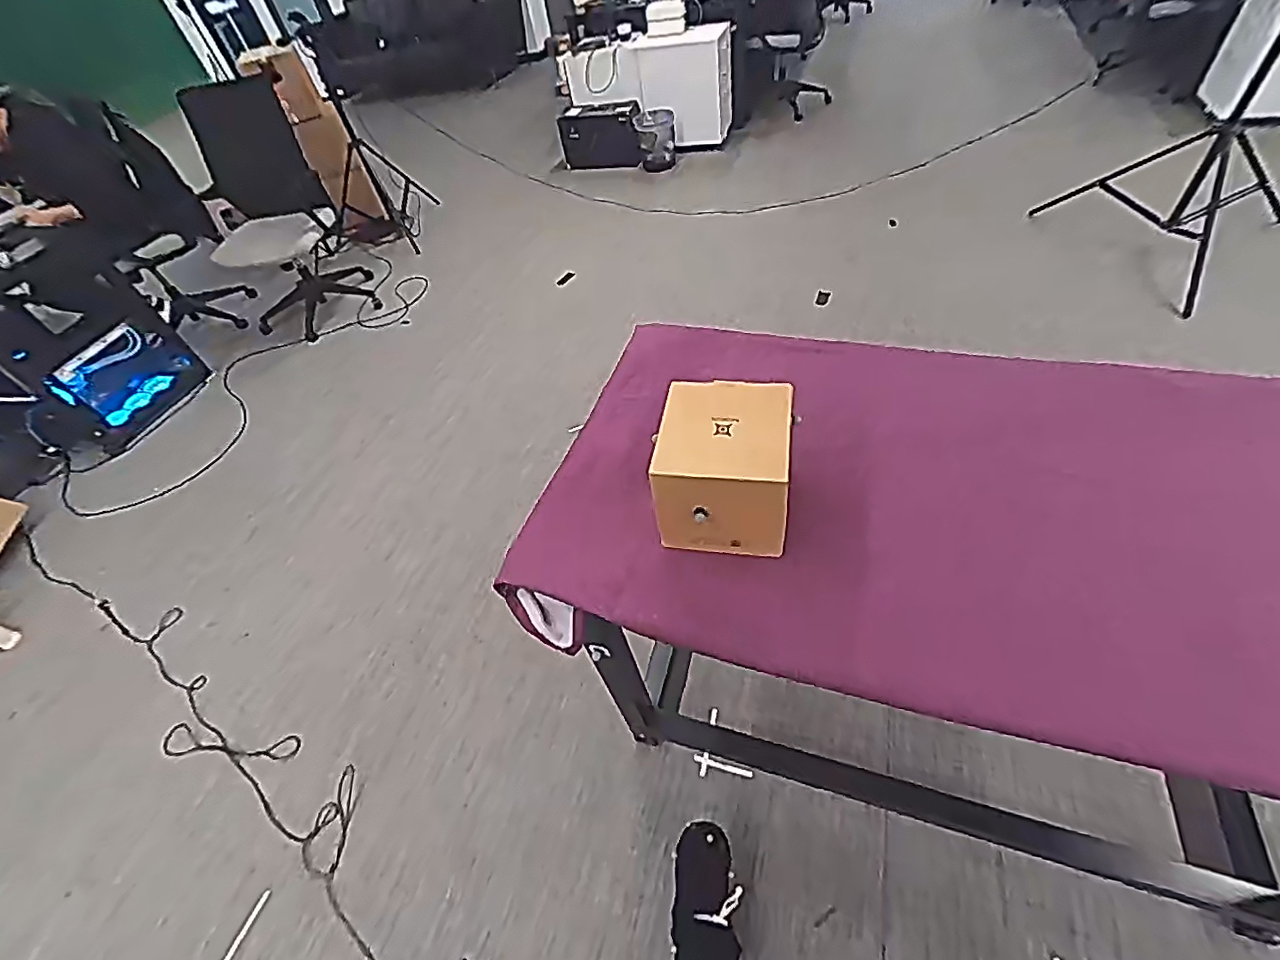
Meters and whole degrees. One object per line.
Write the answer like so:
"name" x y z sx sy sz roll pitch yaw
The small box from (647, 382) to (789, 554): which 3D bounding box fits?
"small box" 0.116 -0.015 0.748 0.168 0.176 0.179 3 50 14
